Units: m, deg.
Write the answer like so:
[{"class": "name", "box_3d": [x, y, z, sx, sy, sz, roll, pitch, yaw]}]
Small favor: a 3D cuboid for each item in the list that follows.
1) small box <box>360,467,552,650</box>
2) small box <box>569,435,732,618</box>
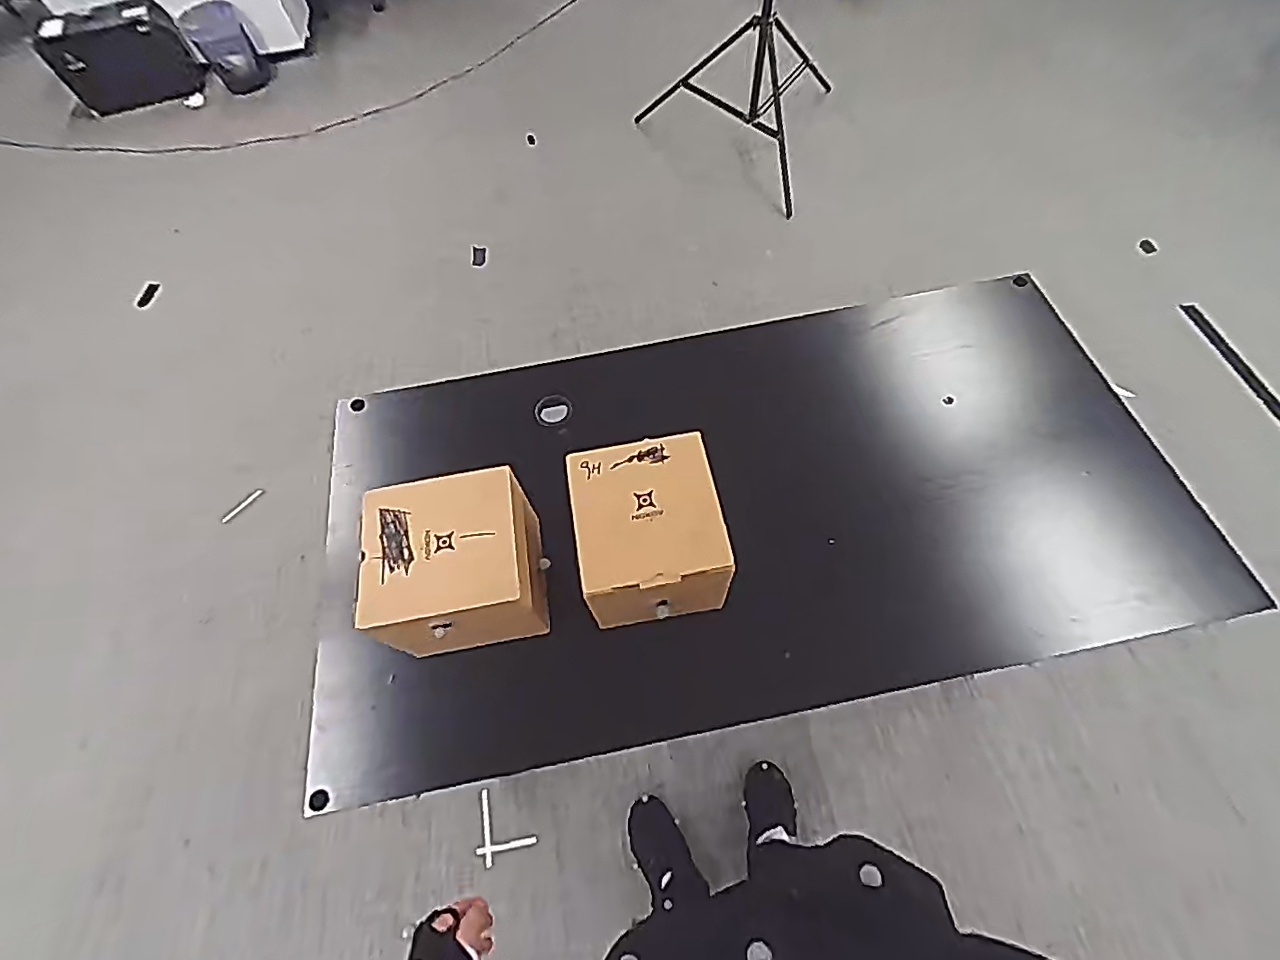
[{"class": "small box", "box_3d": [-0.218, 0.105, 0.677, 0.179, 0.176, 0.168, -10, 63, -3]}, {"class": "small box", "box_3d": [0.011, 0.068, 0.683, 0.168, 0.176, 0.179, -9, 64, -3]}]
